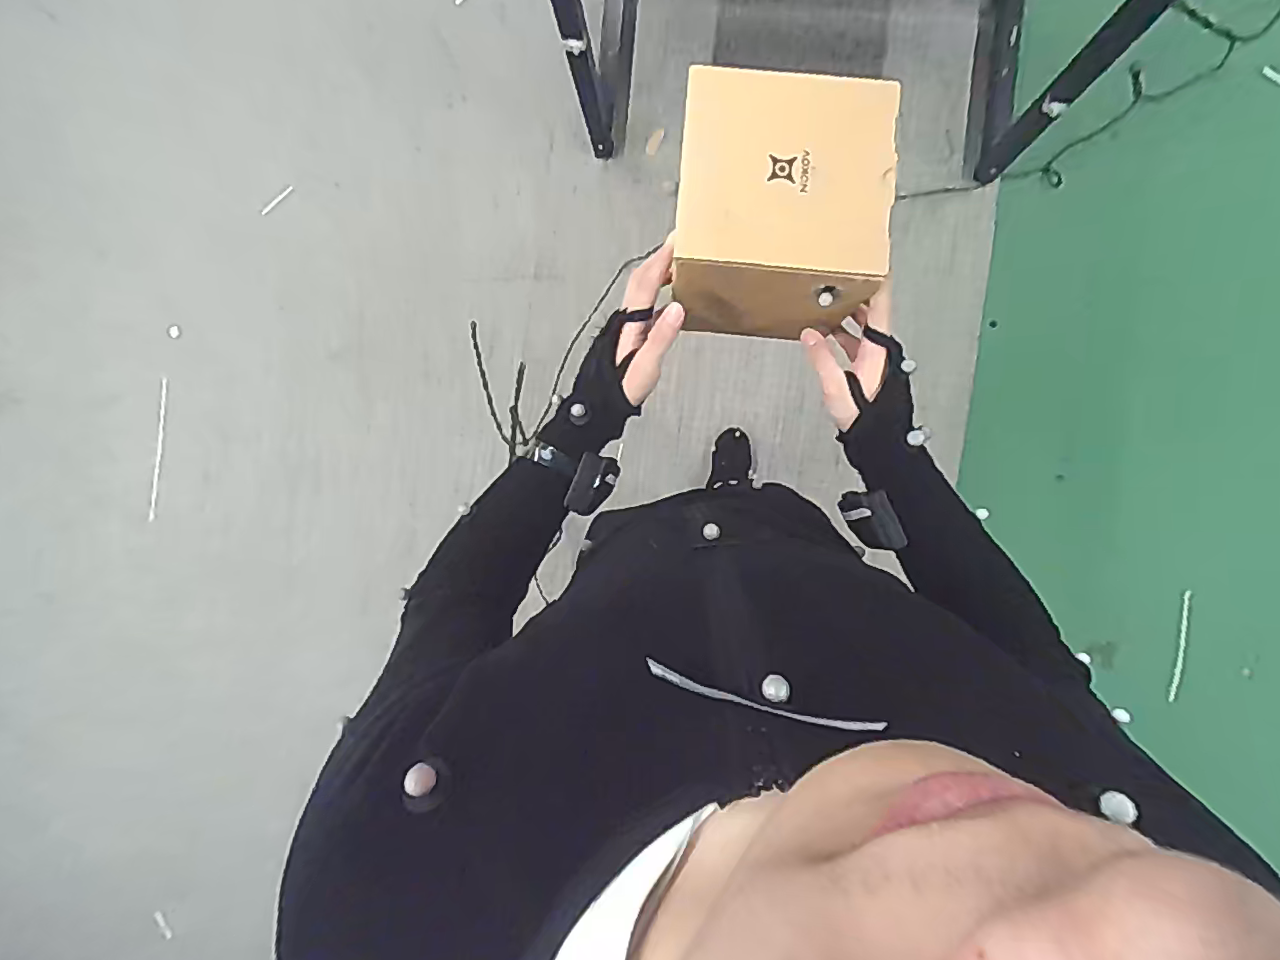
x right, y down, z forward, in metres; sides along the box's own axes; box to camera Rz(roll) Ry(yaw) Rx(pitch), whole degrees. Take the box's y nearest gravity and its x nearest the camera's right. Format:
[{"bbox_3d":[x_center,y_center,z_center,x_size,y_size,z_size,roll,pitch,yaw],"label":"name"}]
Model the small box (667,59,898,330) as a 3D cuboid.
[{"bbox_3d":[0.119,-0.253,0.516,0.179,0.176,0.168,5,87,2],"label":"small box"}]
